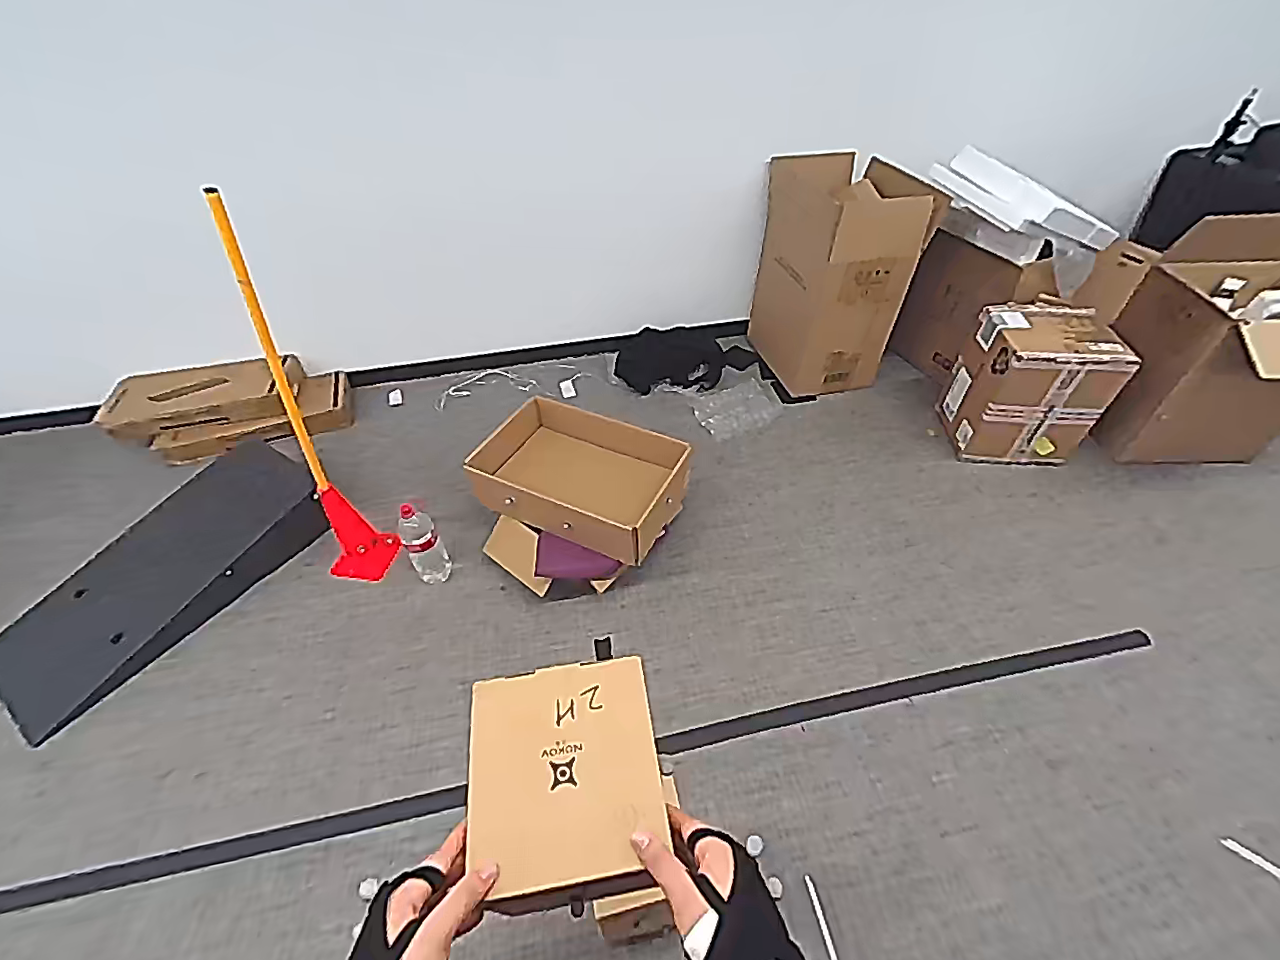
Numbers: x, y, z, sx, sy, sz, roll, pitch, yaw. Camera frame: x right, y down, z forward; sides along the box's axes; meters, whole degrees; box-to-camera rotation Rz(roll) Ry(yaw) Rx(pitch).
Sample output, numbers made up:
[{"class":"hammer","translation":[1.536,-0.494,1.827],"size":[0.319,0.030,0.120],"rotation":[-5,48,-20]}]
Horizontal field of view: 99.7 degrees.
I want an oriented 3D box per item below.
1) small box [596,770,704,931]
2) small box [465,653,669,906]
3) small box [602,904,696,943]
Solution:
[{"class":"small box","translation":[0.001,0.632,0.925],"size":[0.168,0.176,0.179],"rotation":[-11,46,-8]},{"class":"small box","translation":[-0.065,0.299,0.535],"size":[0.168,0.176,0.179],"rotation":[-9,48,-5]},{"class":"small box","translation":[0.001,0.751,1.040],"size":[0.168,0.176,0.179],"rotation":[-11,44,-8]}]
